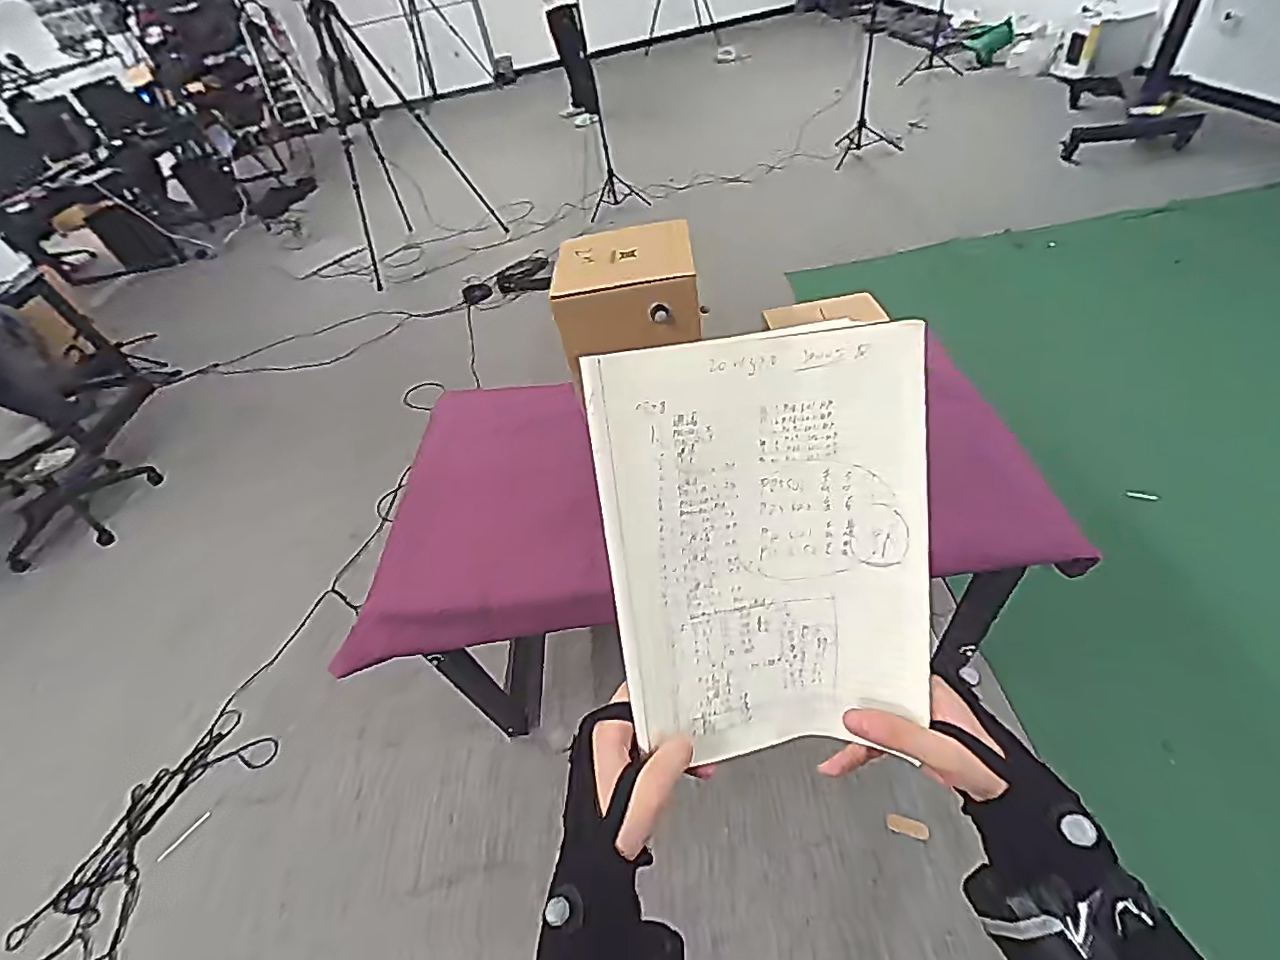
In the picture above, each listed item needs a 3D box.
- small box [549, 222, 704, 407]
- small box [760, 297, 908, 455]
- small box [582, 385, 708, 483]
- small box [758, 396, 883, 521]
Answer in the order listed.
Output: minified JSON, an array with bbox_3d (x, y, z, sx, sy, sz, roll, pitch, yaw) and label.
[{"bbox_3d":[-0.007,-0.218,0.729,0.179,0.176,0.168,-7,45,7],"label":"small box"},{"bbox_3d":[0.284,-0.152,0.830,0.168,0.176,0.179,-8,44,4],"label":"small box"},{"bbox_3d":[0.012,-0.109,0.851,0.168,0.176,0.179,-8,45,6],"label":"small box"},{"bbox_3d":[0.306,-0.042,0.950,0.168,0.176,0.179,-8,45,5],"label":"small box"}]
